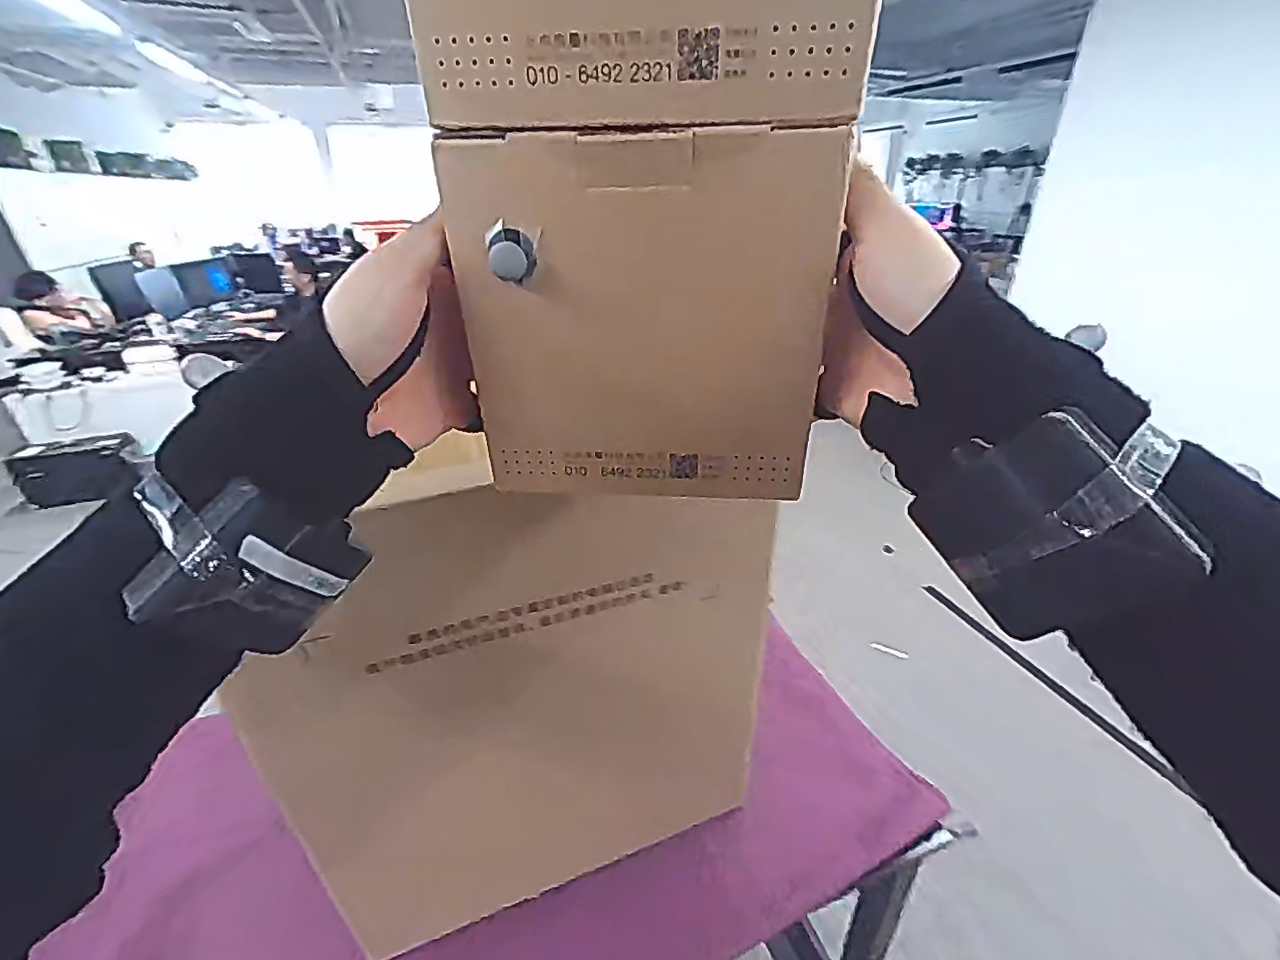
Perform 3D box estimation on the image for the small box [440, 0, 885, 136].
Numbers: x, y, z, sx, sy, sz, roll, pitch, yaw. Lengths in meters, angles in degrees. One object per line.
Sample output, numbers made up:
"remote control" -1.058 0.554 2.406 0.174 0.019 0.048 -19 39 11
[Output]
"small box" 0.011 -0.253 0.231 0.168 0.176 0.179 2 31 4
